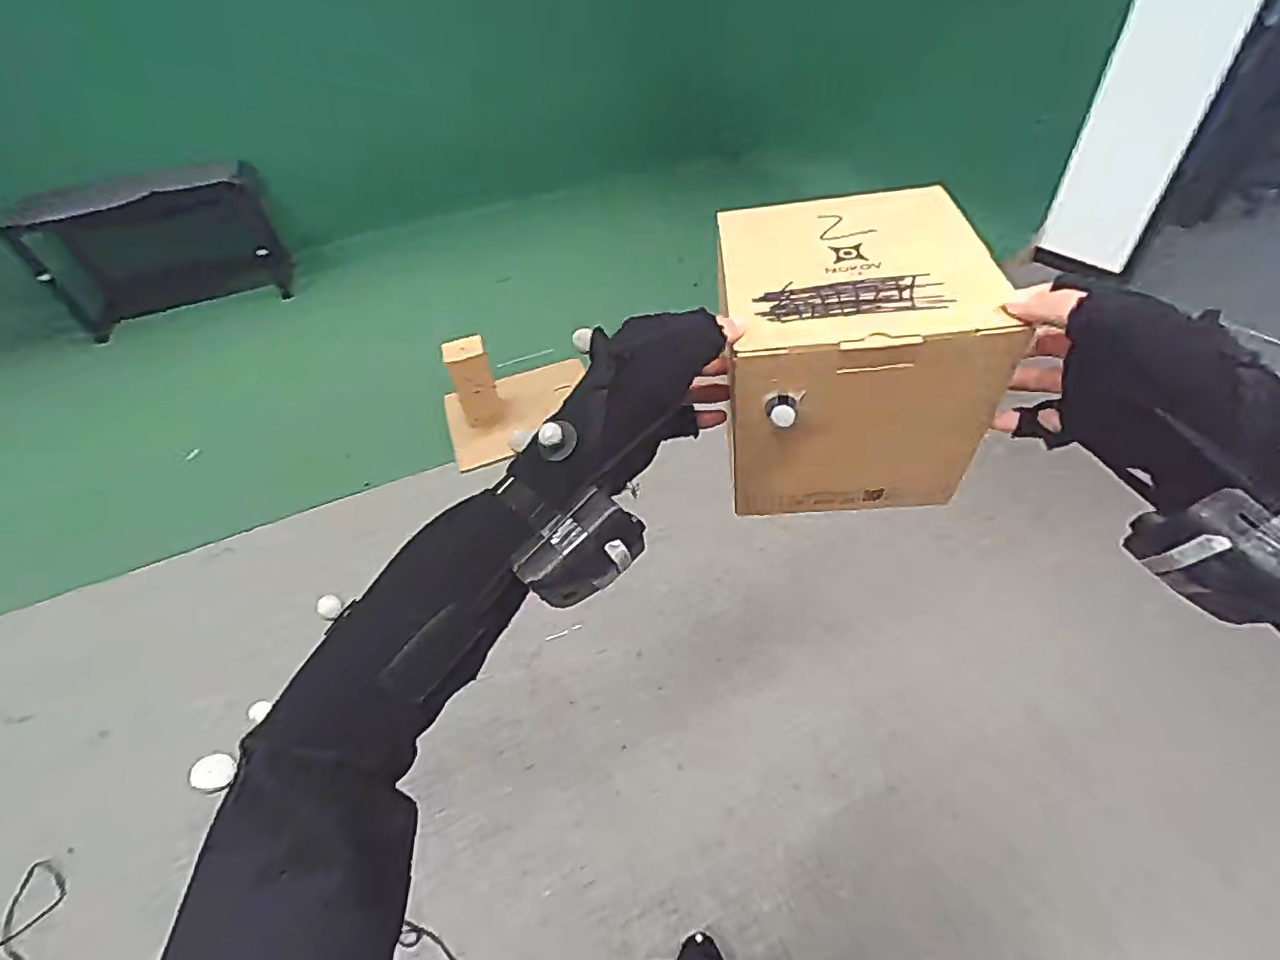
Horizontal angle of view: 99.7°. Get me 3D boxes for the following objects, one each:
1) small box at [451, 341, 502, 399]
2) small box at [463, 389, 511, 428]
[{"bbox_3d":[-0.716,-0.482,2.368,0.168,0.176,0.179,-17,44,-9],"label":"small box"},{"bbox_3d":[-0.699,-0.356,2.469,0.168,0.176,0.179,-18,43,-10],"label":"small box"}]
